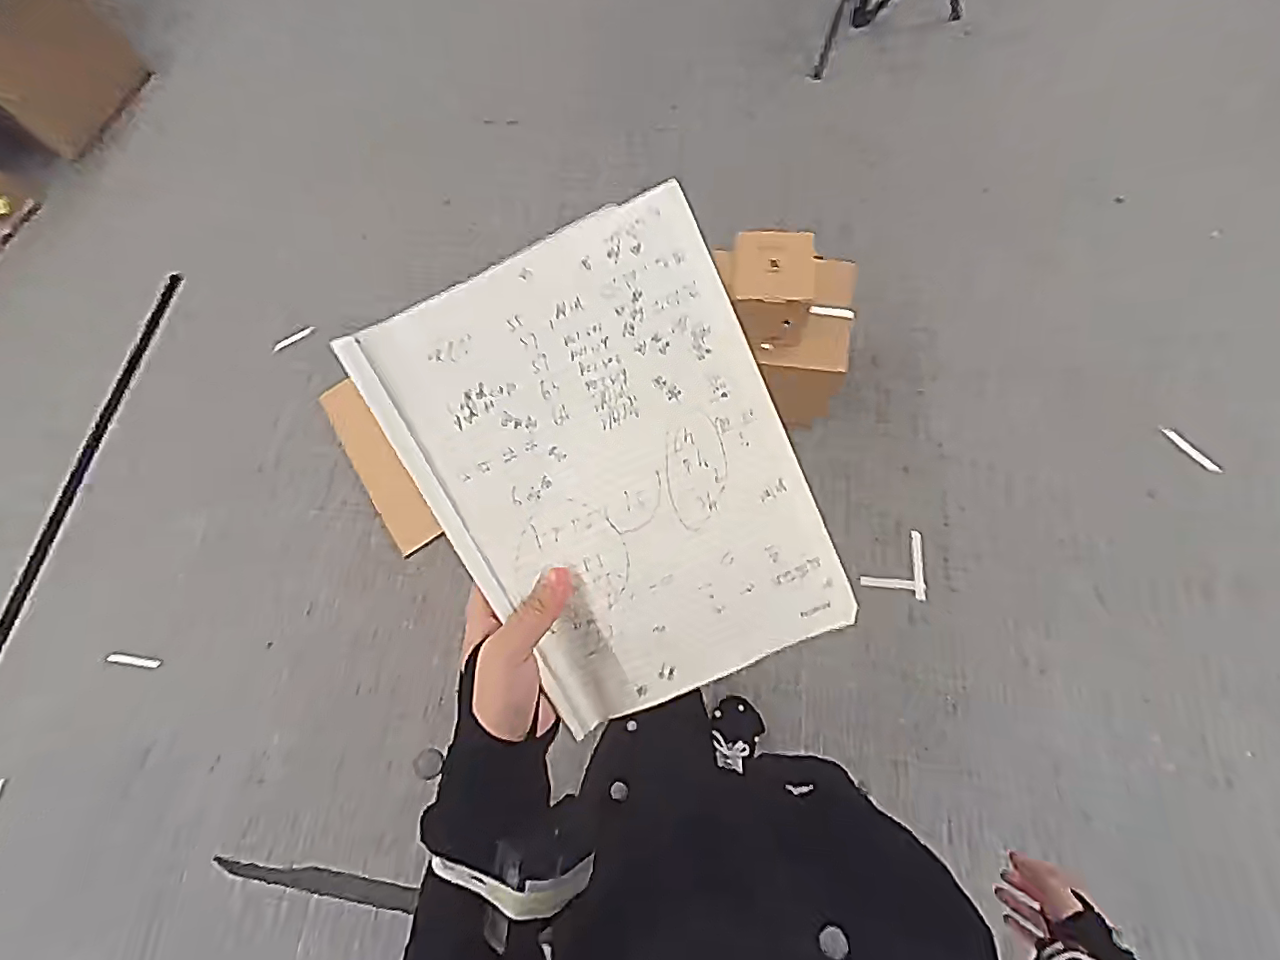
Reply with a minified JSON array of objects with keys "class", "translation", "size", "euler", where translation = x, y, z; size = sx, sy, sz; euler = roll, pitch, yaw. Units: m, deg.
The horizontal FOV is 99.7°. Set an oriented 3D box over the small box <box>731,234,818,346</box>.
[{"class":"small box","translation":[0.295,-0.417,1.203],"size":[0.168,0.176,0.179],"euler":[3,71,5]}]
